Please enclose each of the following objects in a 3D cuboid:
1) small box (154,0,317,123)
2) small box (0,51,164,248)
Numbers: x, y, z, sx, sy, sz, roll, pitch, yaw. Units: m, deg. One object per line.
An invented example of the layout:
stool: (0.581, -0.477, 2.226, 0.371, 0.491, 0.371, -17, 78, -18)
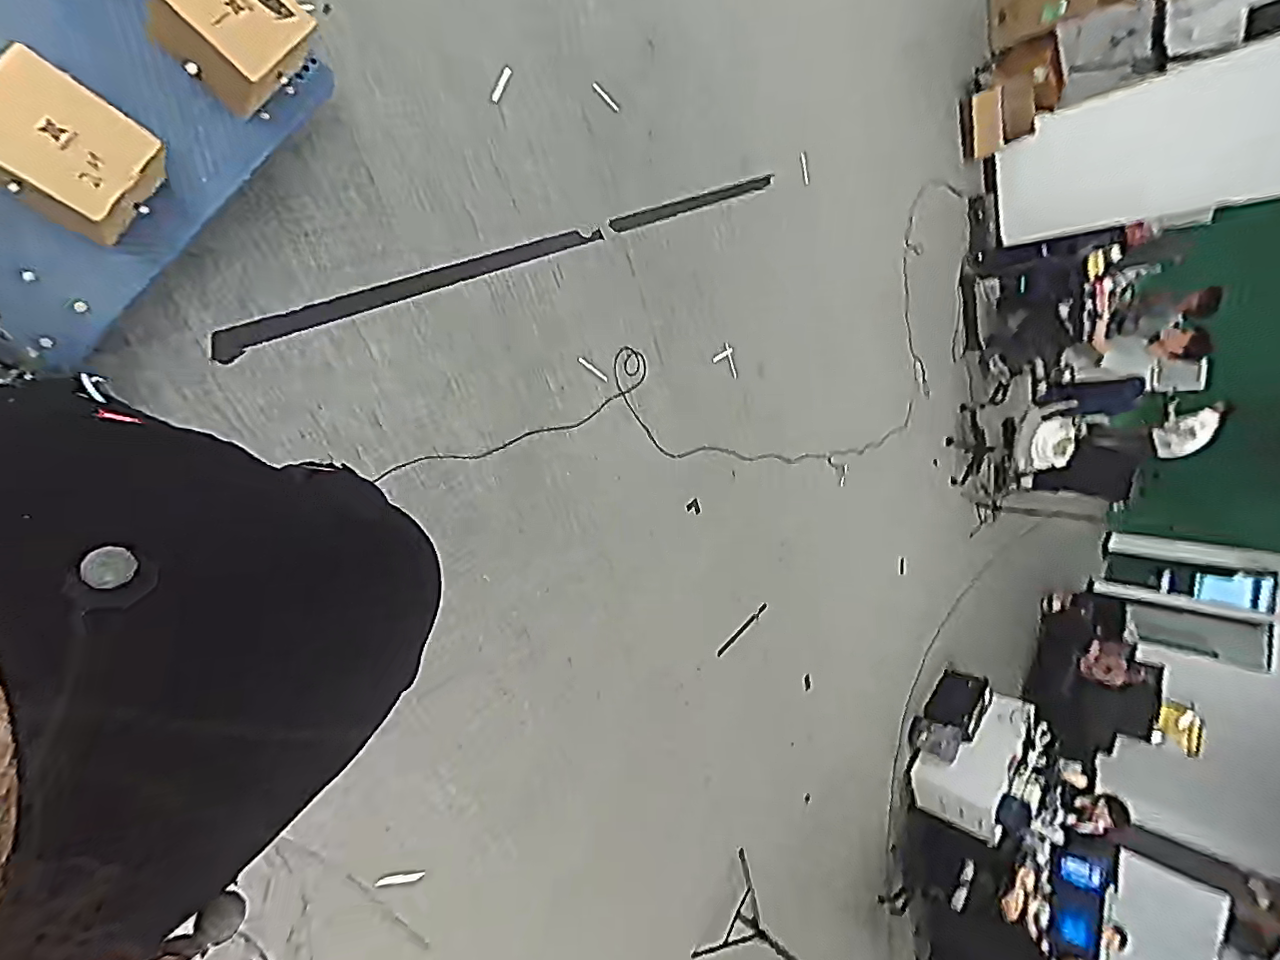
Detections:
small box: (-0.723, -0.791, 0.964, 0.168, 0.176, 0.179, 42, 69, -37)
small box: (-0.895, -0.496, 0.845, 0.179, 0.176, 0.168, 35, 72, -38)
